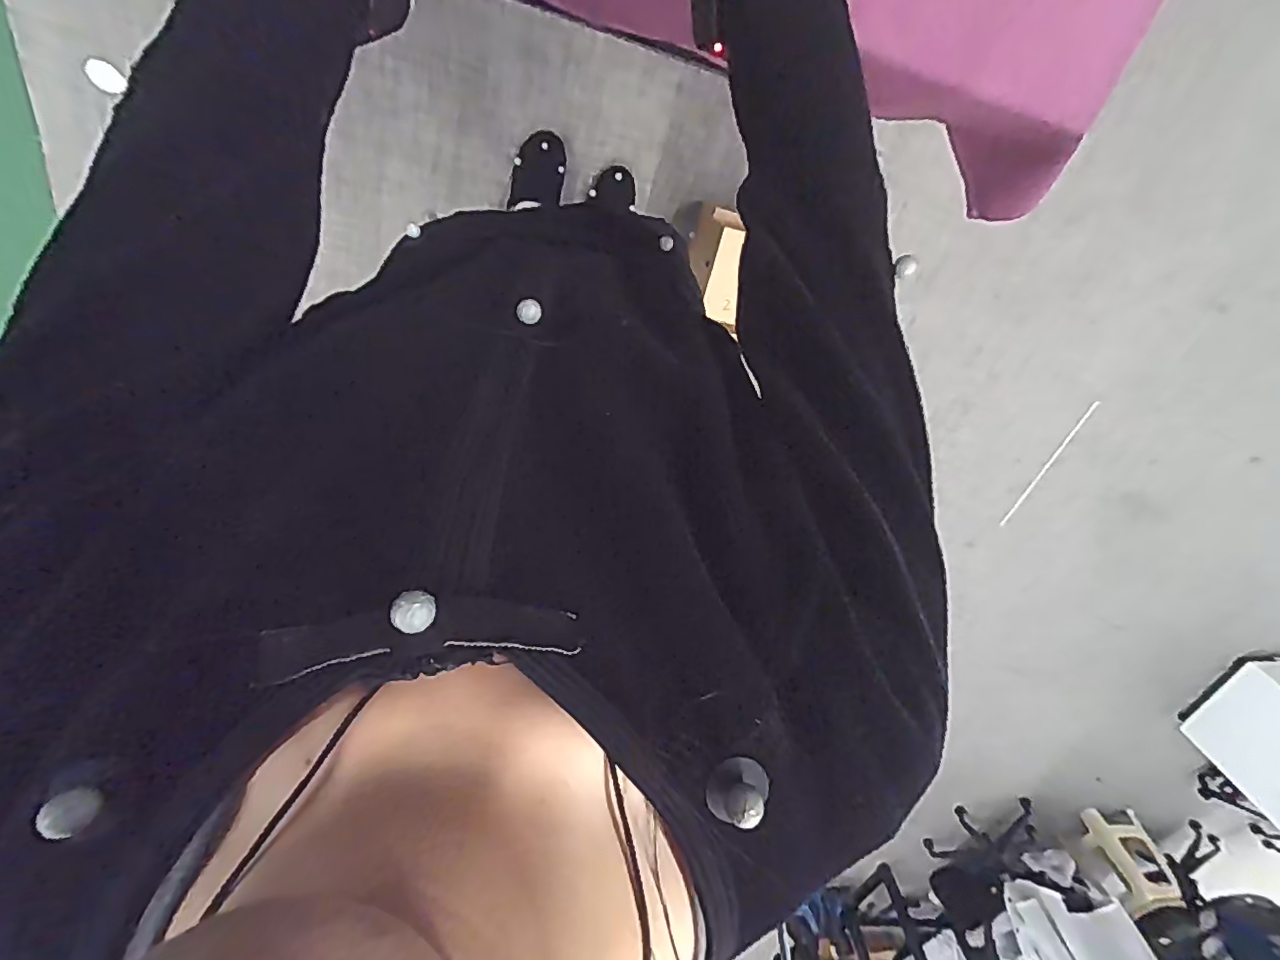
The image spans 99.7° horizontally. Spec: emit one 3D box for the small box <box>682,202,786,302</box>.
[{"bbox_3d":[0.211,-0.540,1.270,0.179,0.176,0.168,11,121,-11],"label":"small box"}]
